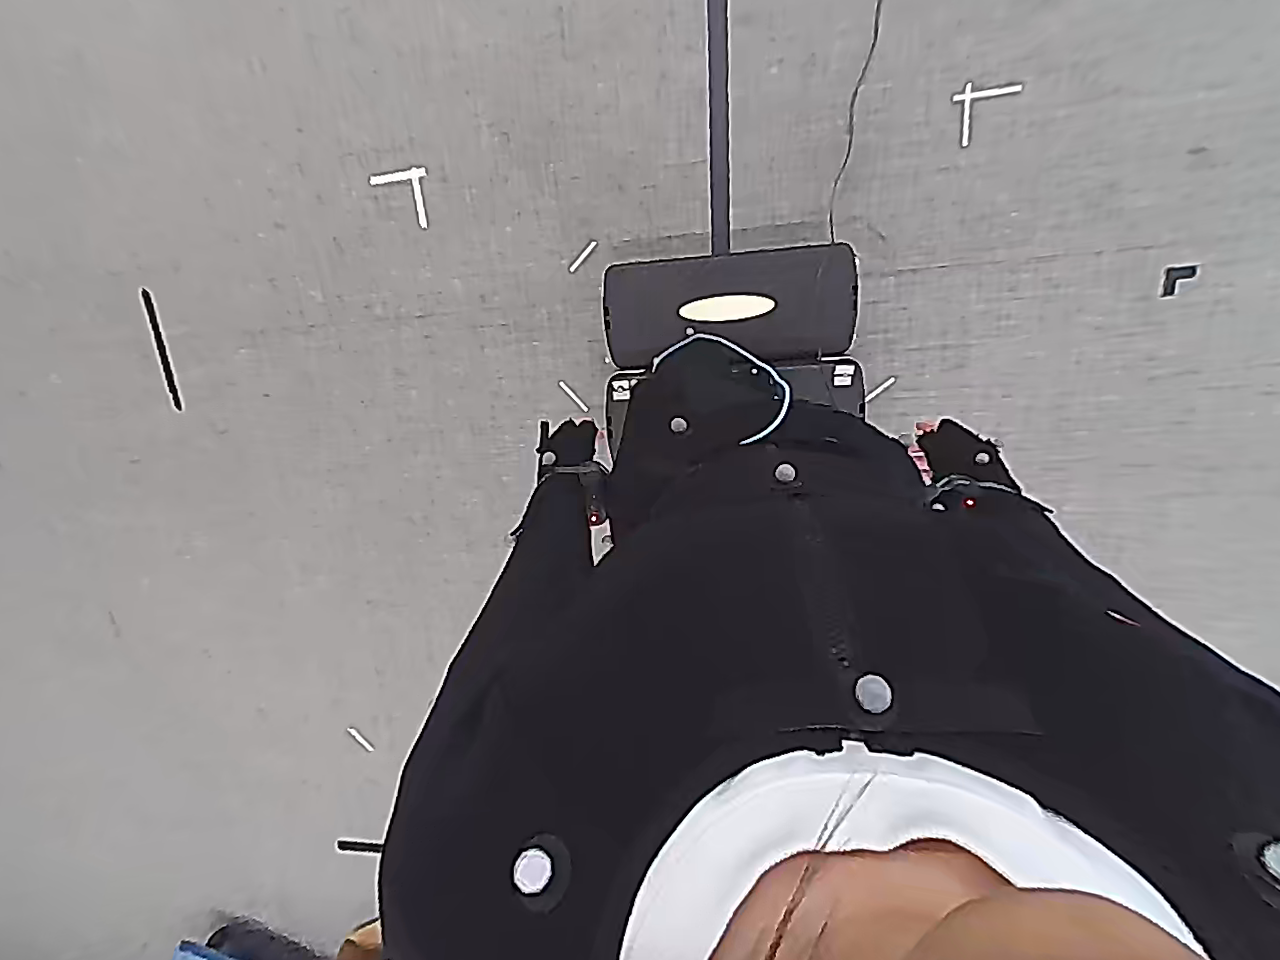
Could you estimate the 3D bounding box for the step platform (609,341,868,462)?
[{"bbox_3d":[0.256,-0.210,1.484,0.684,0.204,0.286,-3,103,10],"label":"step platform"}]
